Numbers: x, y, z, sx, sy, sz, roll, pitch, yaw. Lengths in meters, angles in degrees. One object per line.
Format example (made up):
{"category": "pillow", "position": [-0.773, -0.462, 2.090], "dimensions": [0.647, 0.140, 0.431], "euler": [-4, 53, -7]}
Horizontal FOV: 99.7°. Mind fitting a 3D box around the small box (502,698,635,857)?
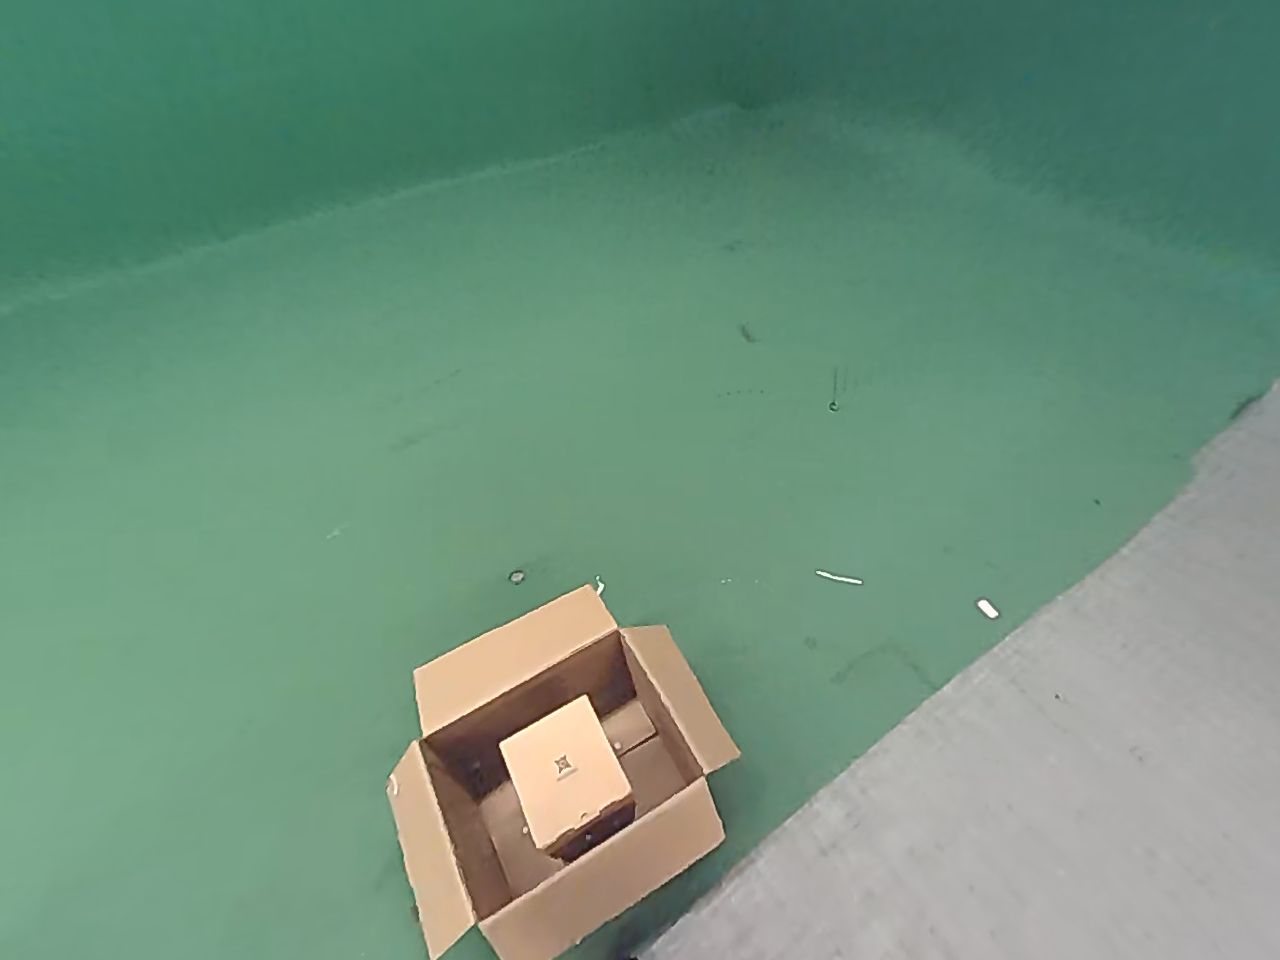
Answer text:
{"category": "small box", "position": [-0.121, 0.520, 0.941], "dimensions": [0.168, 0.176, 0.179], "euler": [-24, 55, -17]}
